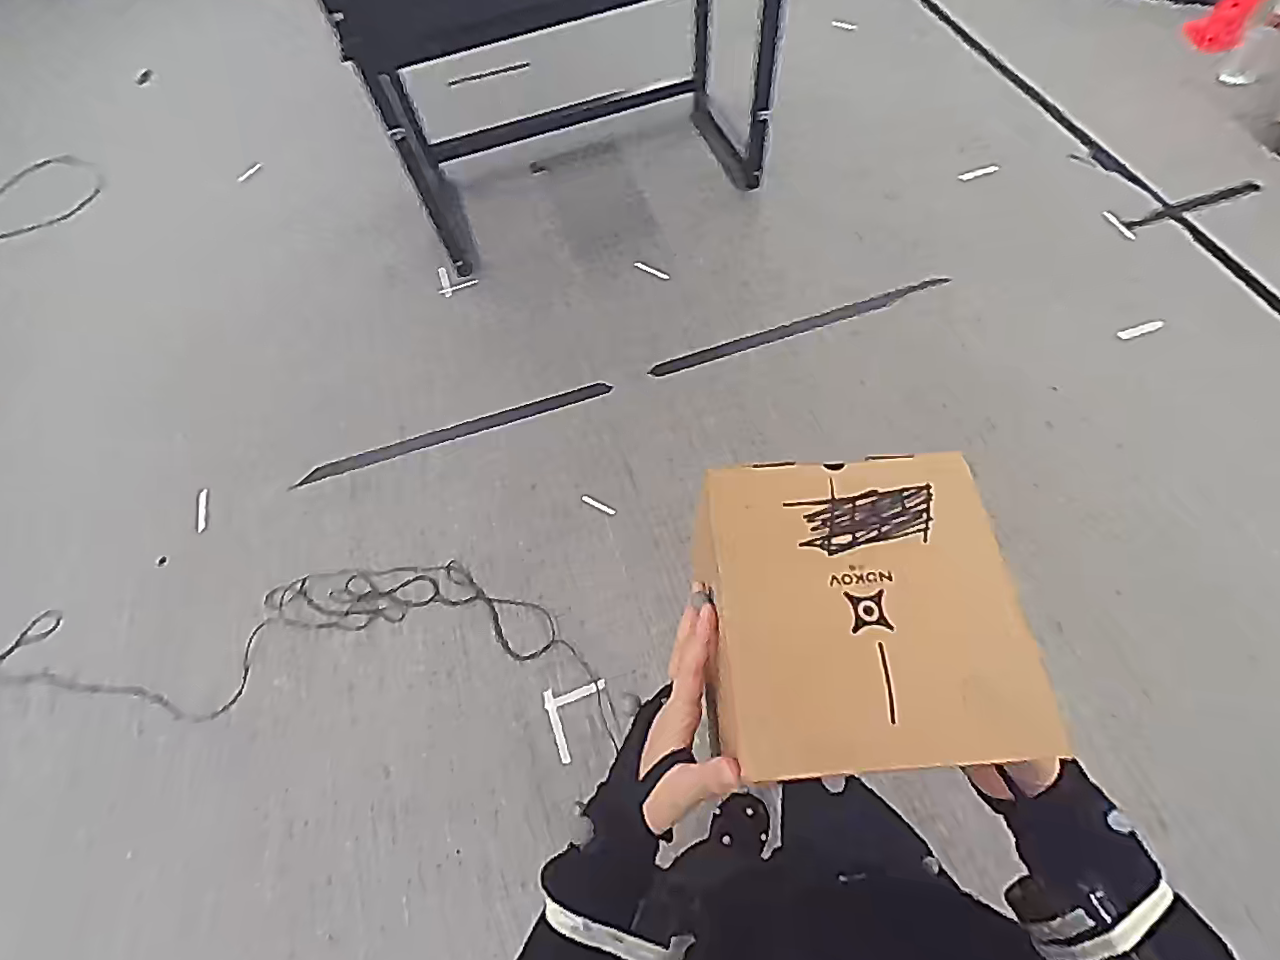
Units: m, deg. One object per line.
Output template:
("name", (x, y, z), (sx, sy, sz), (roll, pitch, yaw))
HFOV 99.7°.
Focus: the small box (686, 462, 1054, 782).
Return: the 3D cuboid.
("small box", (0.126, 0.106, 0.382), (0.168, 0.176, 0.179), (-5, 64, -1))
